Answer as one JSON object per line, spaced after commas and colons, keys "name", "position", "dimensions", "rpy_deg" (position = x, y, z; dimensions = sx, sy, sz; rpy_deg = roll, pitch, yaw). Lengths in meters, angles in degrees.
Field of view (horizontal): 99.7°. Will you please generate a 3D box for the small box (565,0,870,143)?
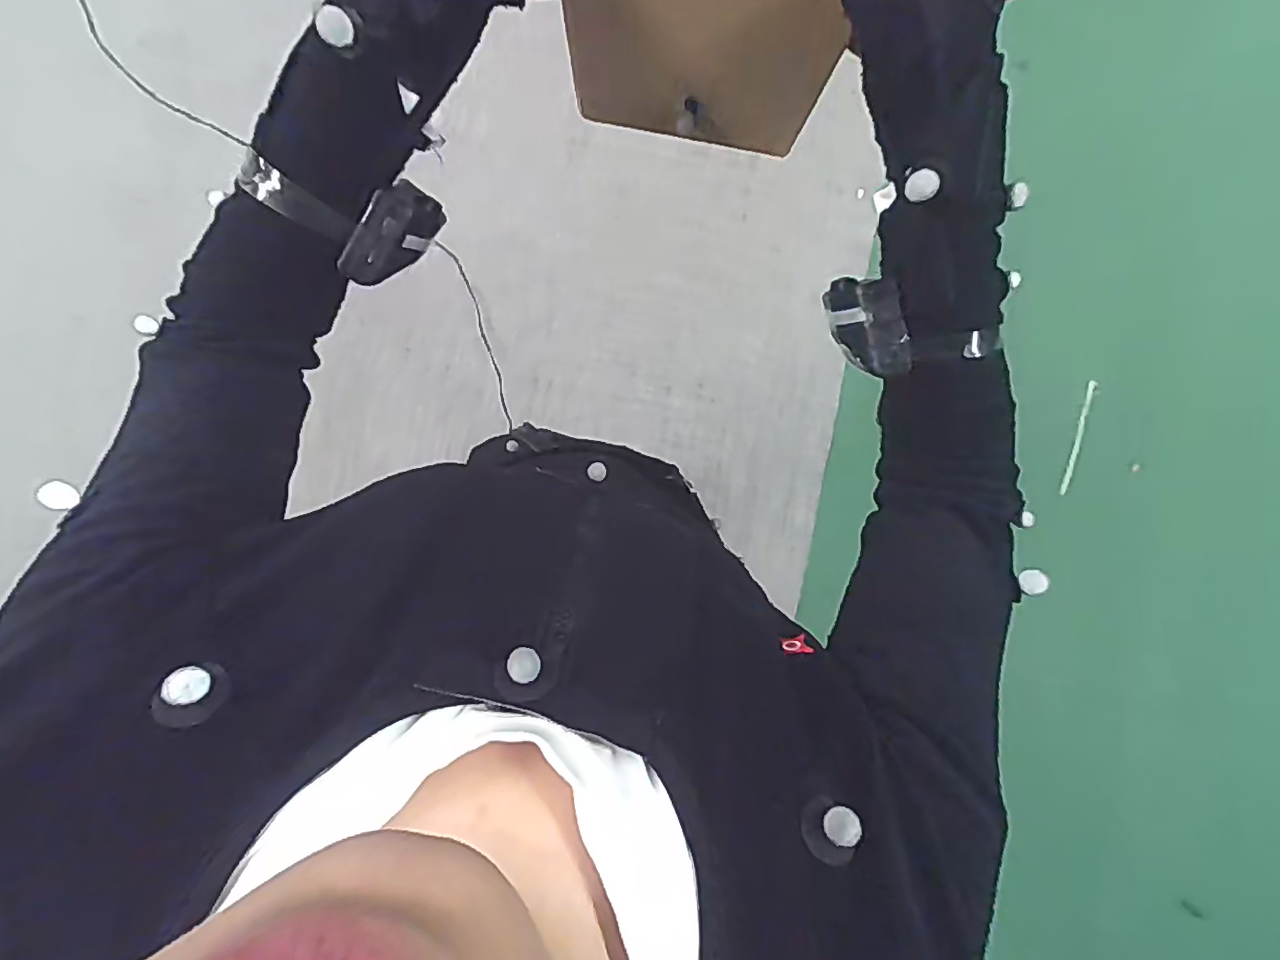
{"name": "small box", "position": [0.052, -0.358, 0.358], "dimensions": [0.179, 0.176, 0.168], "rpy_deg": [9, 94, -2]}
